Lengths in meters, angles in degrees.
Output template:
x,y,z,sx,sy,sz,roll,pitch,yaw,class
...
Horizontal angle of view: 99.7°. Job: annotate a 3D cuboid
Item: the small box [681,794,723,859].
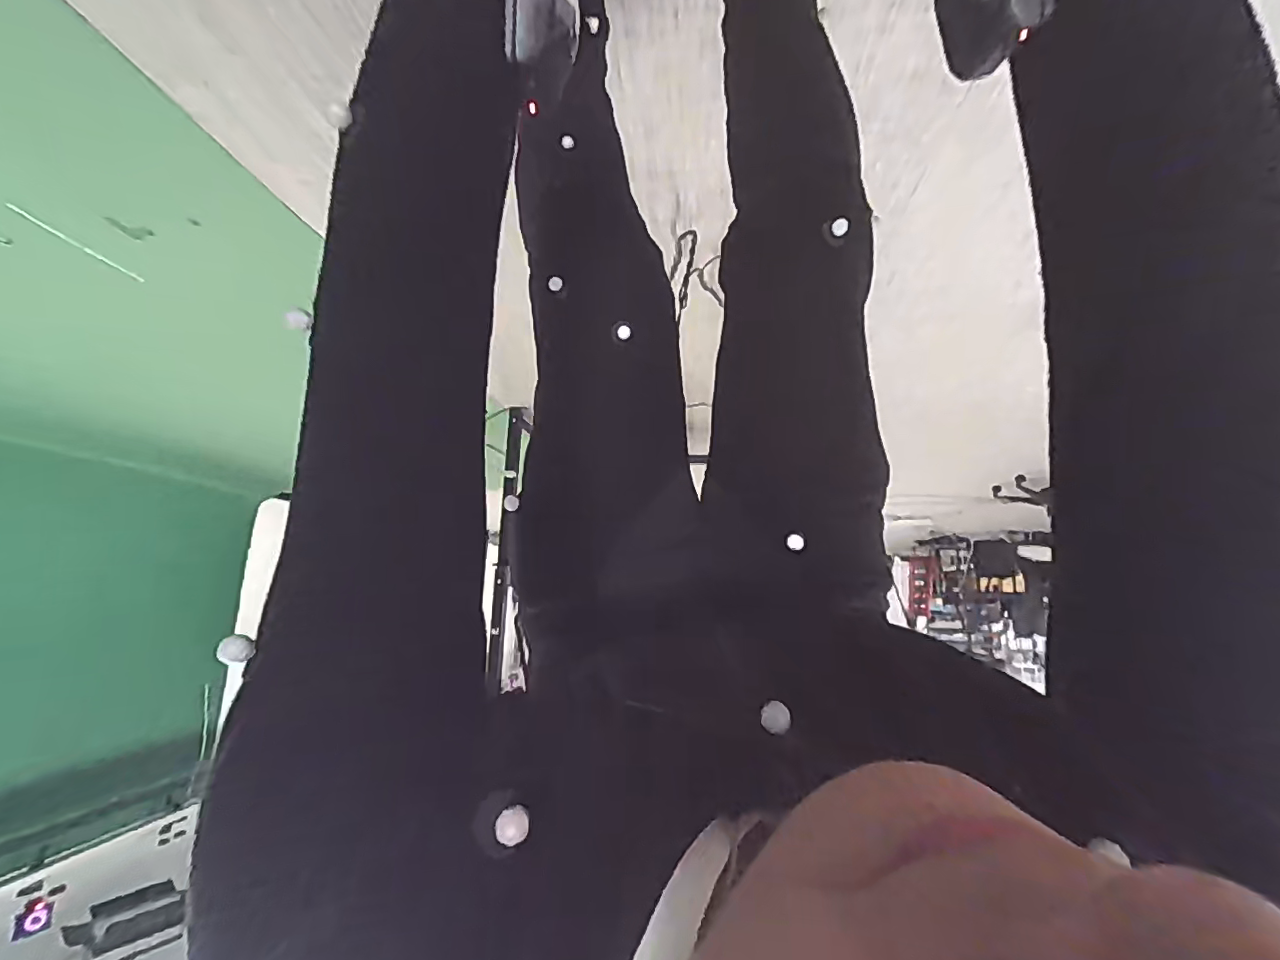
x,y,z,sx,sy,sz,roll,pitch,yaw,class
0.249,1.385,2.173,0.168,0.176,0.179,1,169,7,small box
